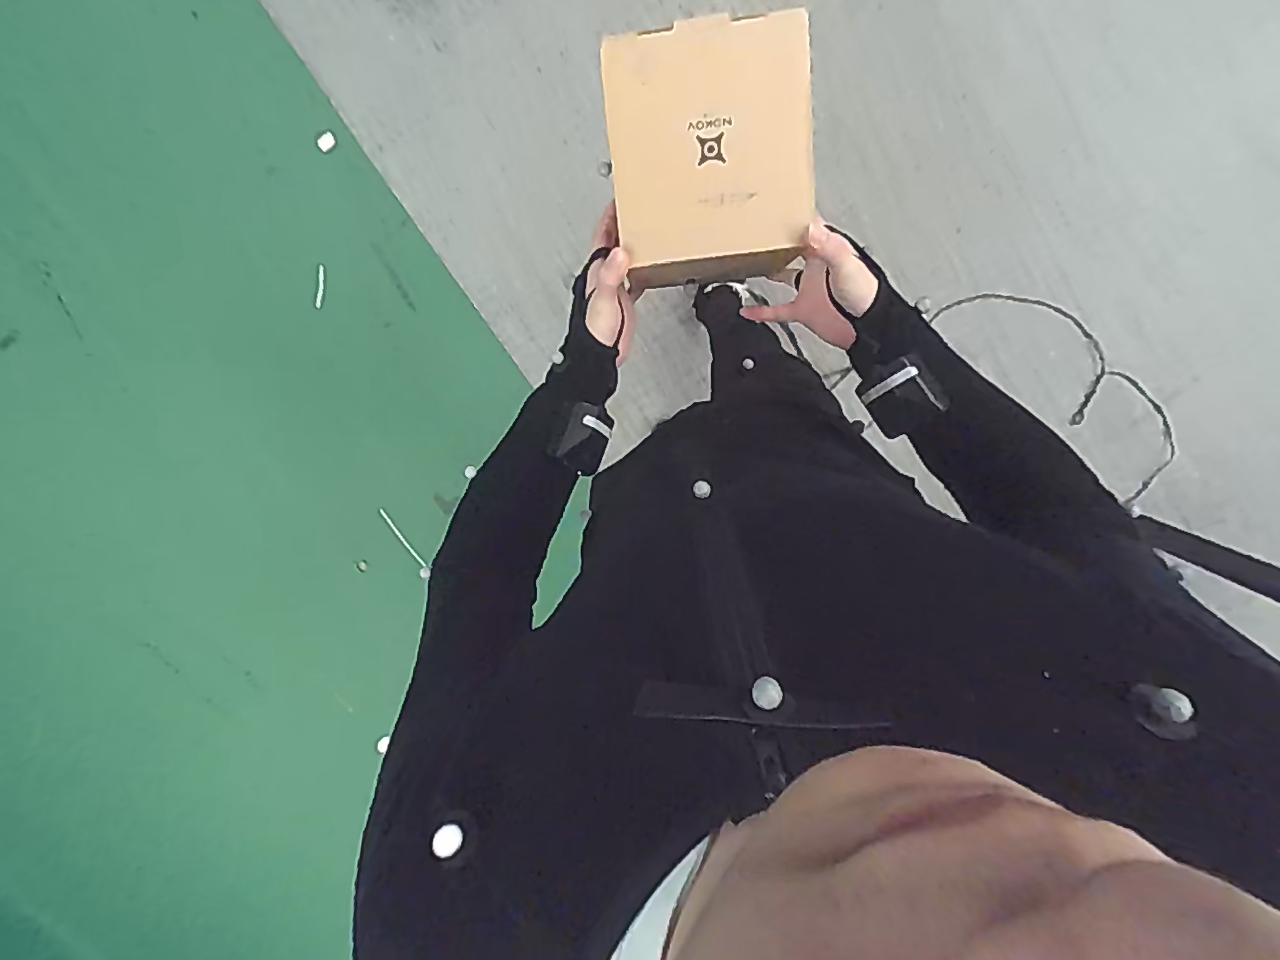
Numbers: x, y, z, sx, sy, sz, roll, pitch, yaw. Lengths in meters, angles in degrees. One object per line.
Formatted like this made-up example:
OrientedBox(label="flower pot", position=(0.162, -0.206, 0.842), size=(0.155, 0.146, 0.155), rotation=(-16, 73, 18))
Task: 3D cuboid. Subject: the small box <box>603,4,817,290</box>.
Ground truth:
OrientedBox(label="small box", position=(0.059, -0.287, 0.508), size=(0.168, 0.176, 0.179), rotation=(-5, 102, 3))
